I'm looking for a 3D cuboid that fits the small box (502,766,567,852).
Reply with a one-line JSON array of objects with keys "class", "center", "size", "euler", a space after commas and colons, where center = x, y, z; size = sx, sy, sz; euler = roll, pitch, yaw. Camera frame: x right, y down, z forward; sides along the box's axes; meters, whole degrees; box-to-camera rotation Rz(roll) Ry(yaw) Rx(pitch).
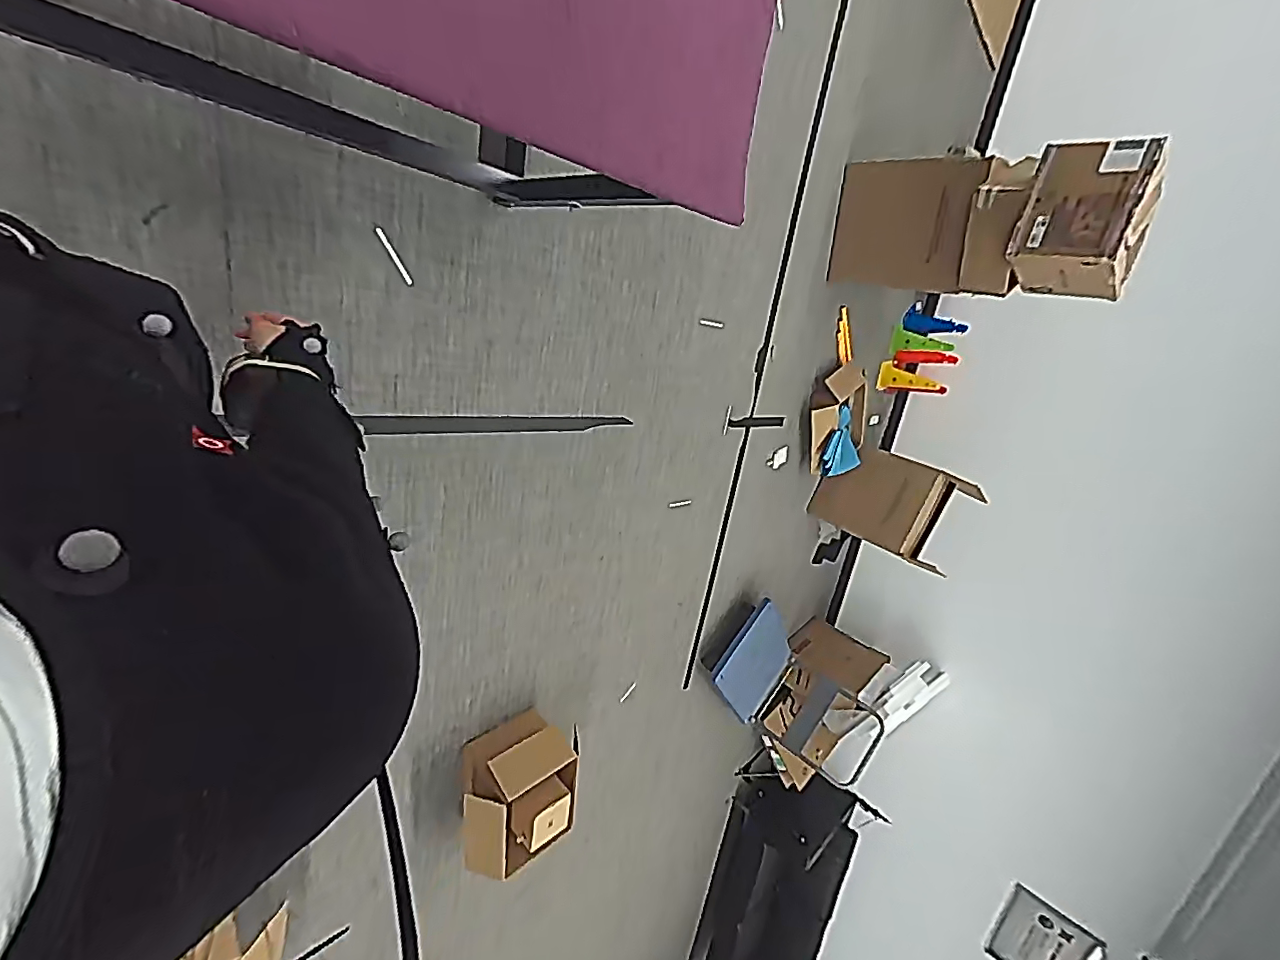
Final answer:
[{"class": "small box", "center": [-0.396, 1.208, 2.000], "size": [0.168, 0.176, 0.179], "euler": [-11, 116, -46]}]
